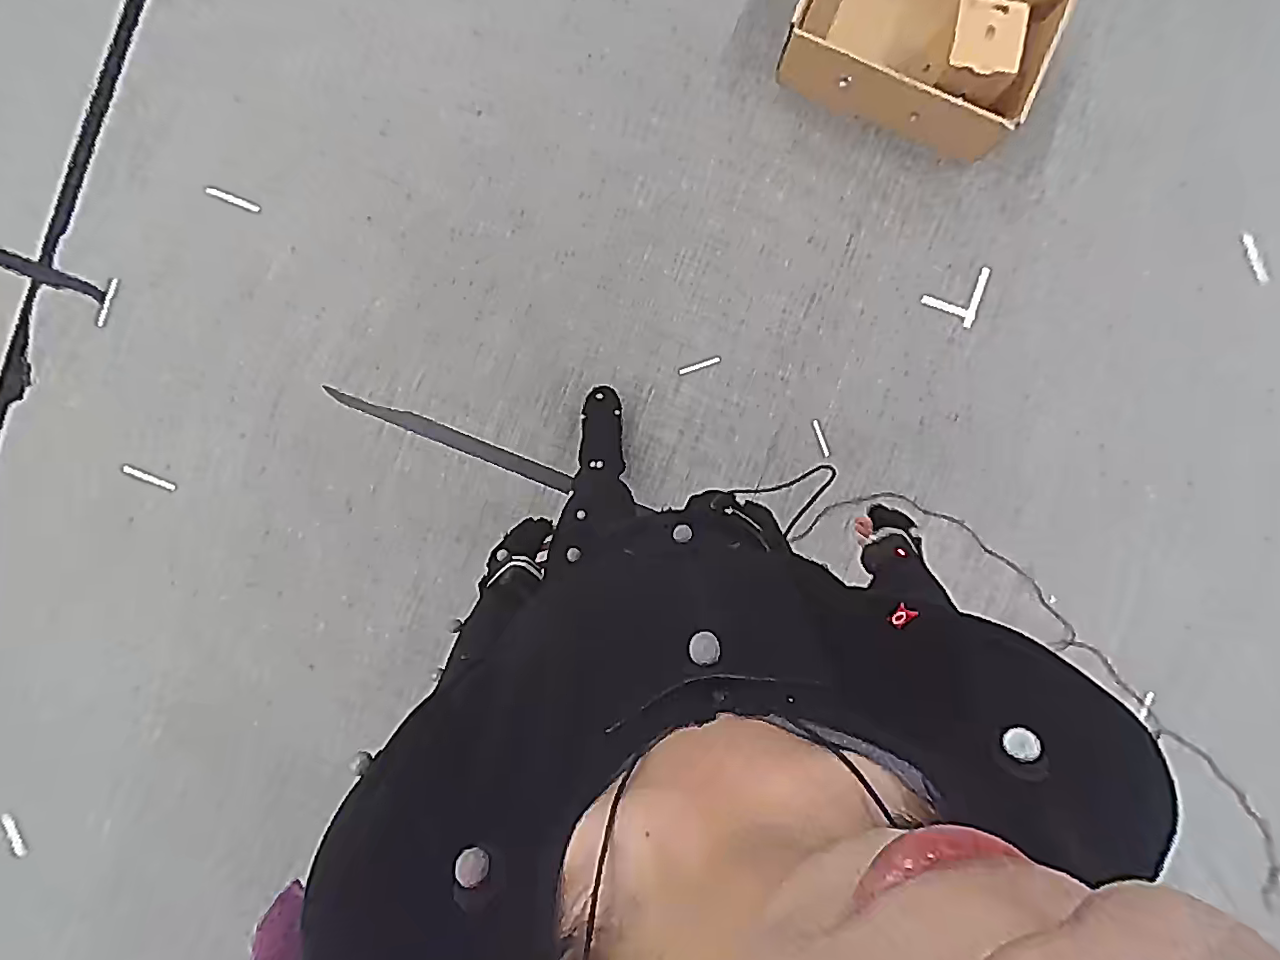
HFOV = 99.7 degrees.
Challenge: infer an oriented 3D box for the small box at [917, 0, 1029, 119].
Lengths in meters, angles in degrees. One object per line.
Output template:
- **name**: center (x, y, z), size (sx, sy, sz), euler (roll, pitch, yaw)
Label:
- **small box**: center (0.825, -1.054, 1.359), size (0.168, 0.176, 0.179), euler (10, 91, -1)
